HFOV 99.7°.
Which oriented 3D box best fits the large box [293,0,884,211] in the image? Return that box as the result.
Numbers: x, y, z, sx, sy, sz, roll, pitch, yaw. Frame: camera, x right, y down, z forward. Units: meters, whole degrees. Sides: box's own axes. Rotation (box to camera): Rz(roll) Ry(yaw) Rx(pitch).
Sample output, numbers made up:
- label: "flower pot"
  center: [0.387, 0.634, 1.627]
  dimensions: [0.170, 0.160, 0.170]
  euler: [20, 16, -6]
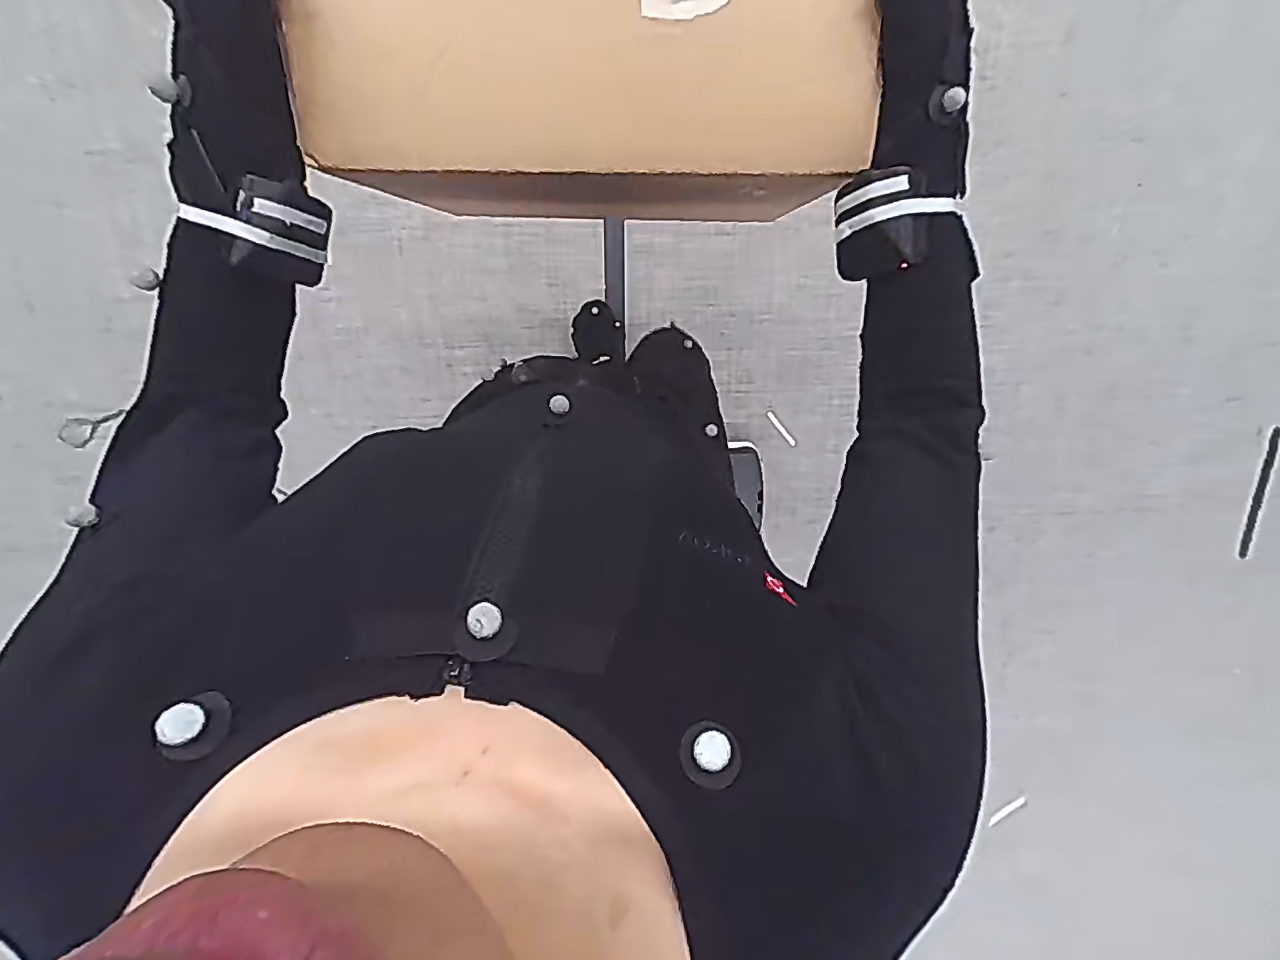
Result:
- label: "large box"
  center: [-0.034, -0.431, 0.480]
  dimensions: [0.408, 0.320, 0.320]
  euler: [1, 110, 1]
